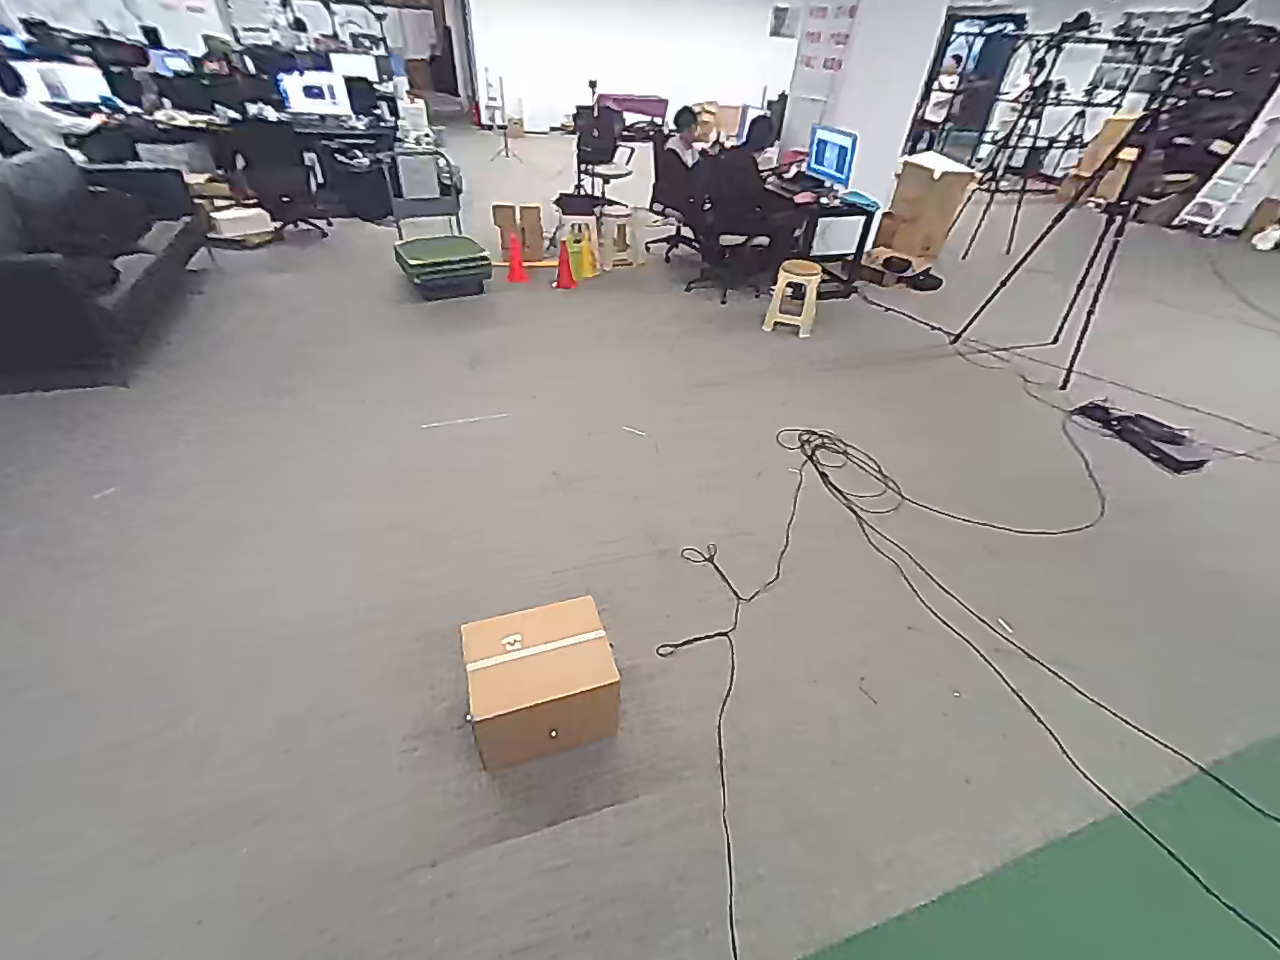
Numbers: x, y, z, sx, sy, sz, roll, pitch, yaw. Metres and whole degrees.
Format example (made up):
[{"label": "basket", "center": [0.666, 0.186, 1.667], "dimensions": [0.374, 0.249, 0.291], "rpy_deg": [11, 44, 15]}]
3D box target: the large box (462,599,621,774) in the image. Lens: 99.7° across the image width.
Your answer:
[{"label": "large box", "center": [-0.296, 0.623, 1.650], "dimensions": [0.408, 0.320, 0.320], "rpy_deg": [-12, 41, -17]}]
